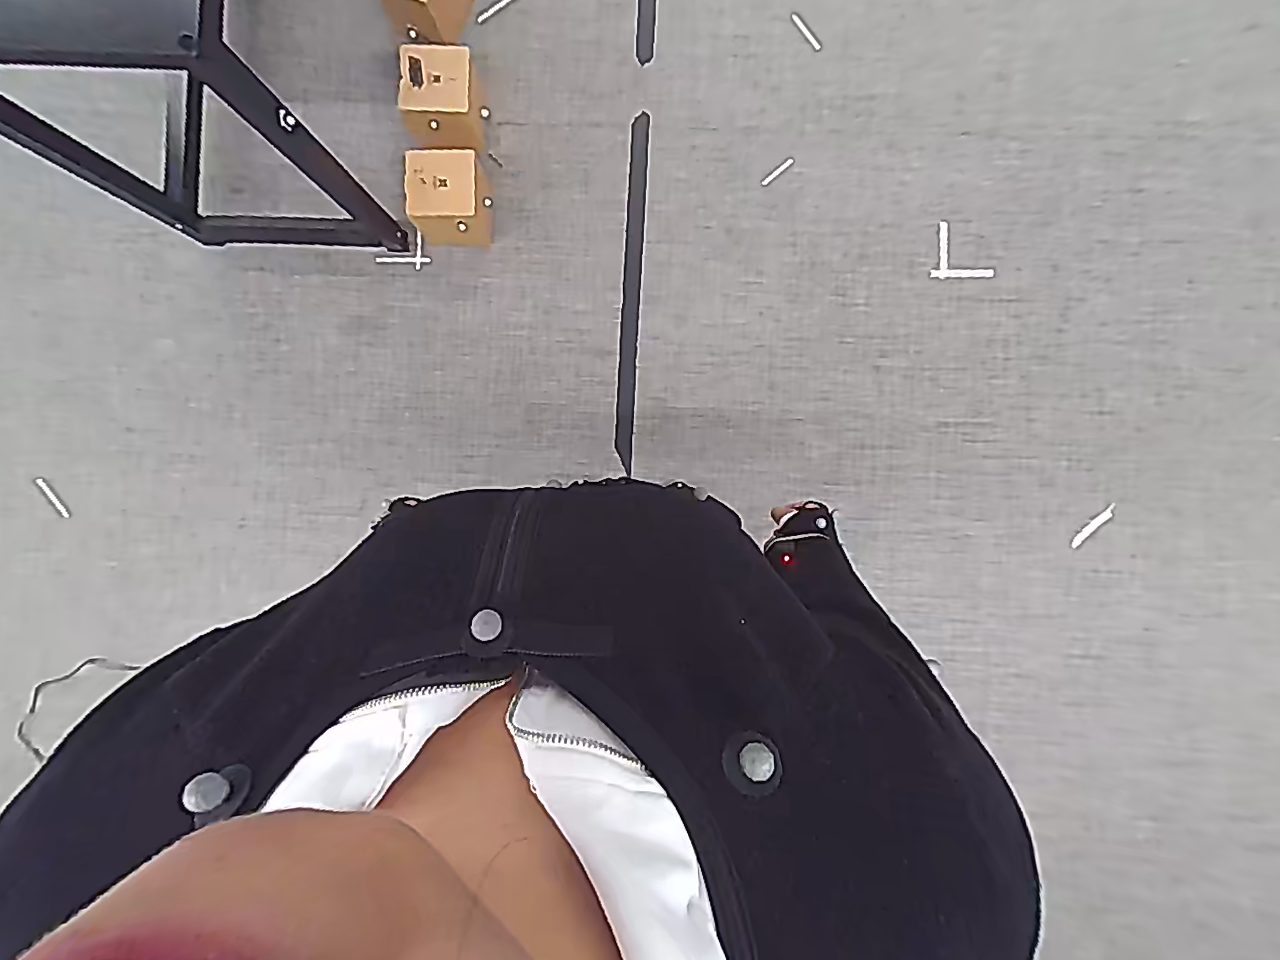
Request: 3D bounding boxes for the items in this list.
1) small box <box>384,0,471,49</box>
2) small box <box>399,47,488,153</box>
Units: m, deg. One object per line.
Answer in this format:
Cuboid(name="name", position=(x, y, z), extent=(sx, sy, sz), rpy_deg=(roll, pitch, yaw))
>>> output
Cuboid(name="small box", position=(-0.568, -1.294, 1.432), extent=(0.168, 0.176, 0.179), rpy_deg=(23, 91, 1))
Cuboid(name="small box", position=(-0.514, -0.997, 1.431), extent=(0.179, 0.176, 0.168), rpy_deg=(1, 90, -1))
